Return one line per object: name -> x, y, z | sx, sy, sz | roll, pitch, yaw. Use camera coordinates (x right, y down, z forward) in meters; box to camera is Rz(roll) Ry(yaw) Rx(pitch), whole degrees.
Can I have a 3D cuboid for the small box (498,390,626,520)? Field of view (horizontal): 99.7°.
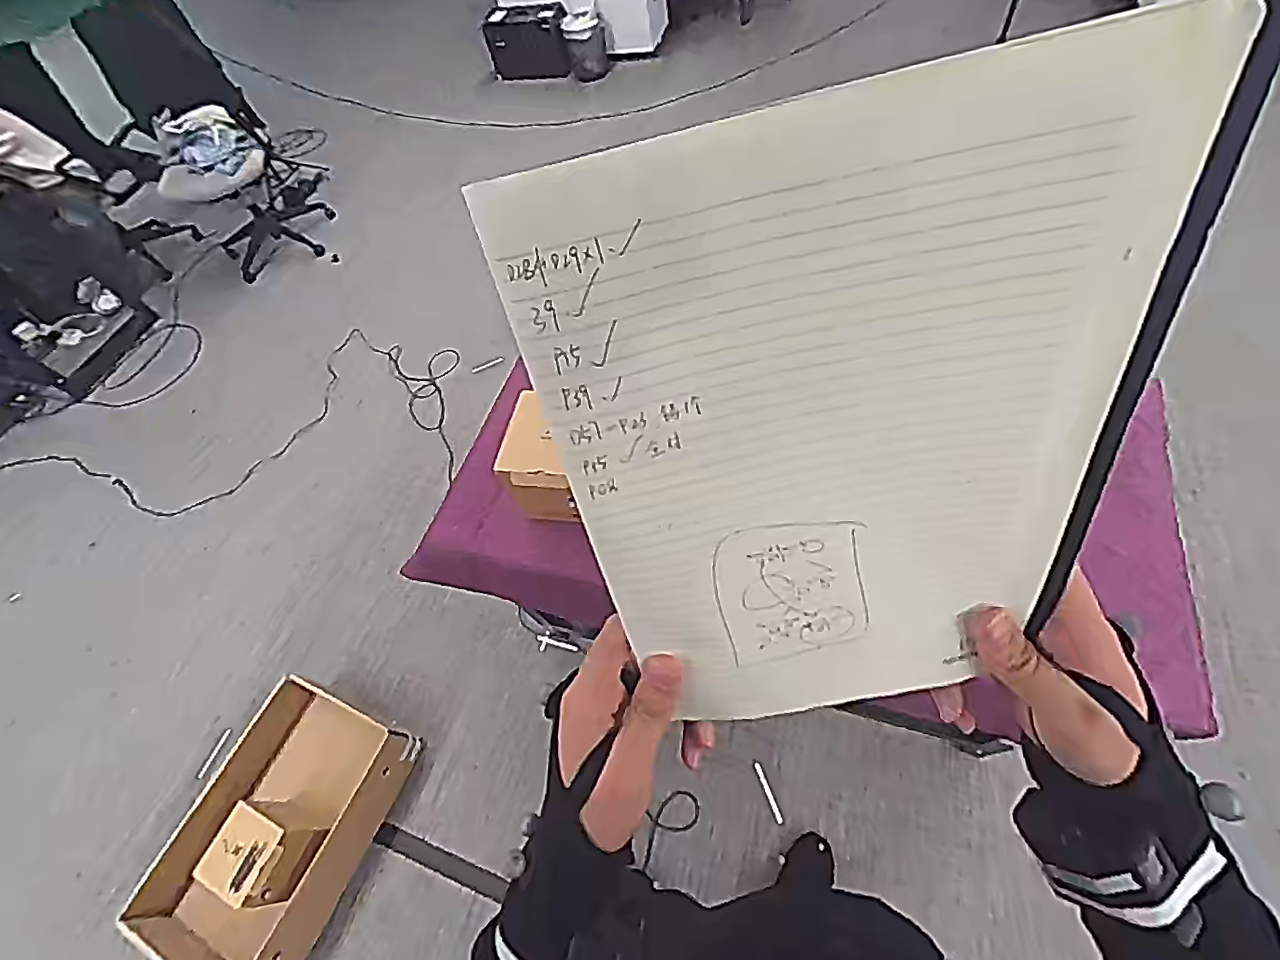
small box -> -0.128, -0.041, 0.975 | 0.168, 0.176, 0.179 | 4, 60, 13
